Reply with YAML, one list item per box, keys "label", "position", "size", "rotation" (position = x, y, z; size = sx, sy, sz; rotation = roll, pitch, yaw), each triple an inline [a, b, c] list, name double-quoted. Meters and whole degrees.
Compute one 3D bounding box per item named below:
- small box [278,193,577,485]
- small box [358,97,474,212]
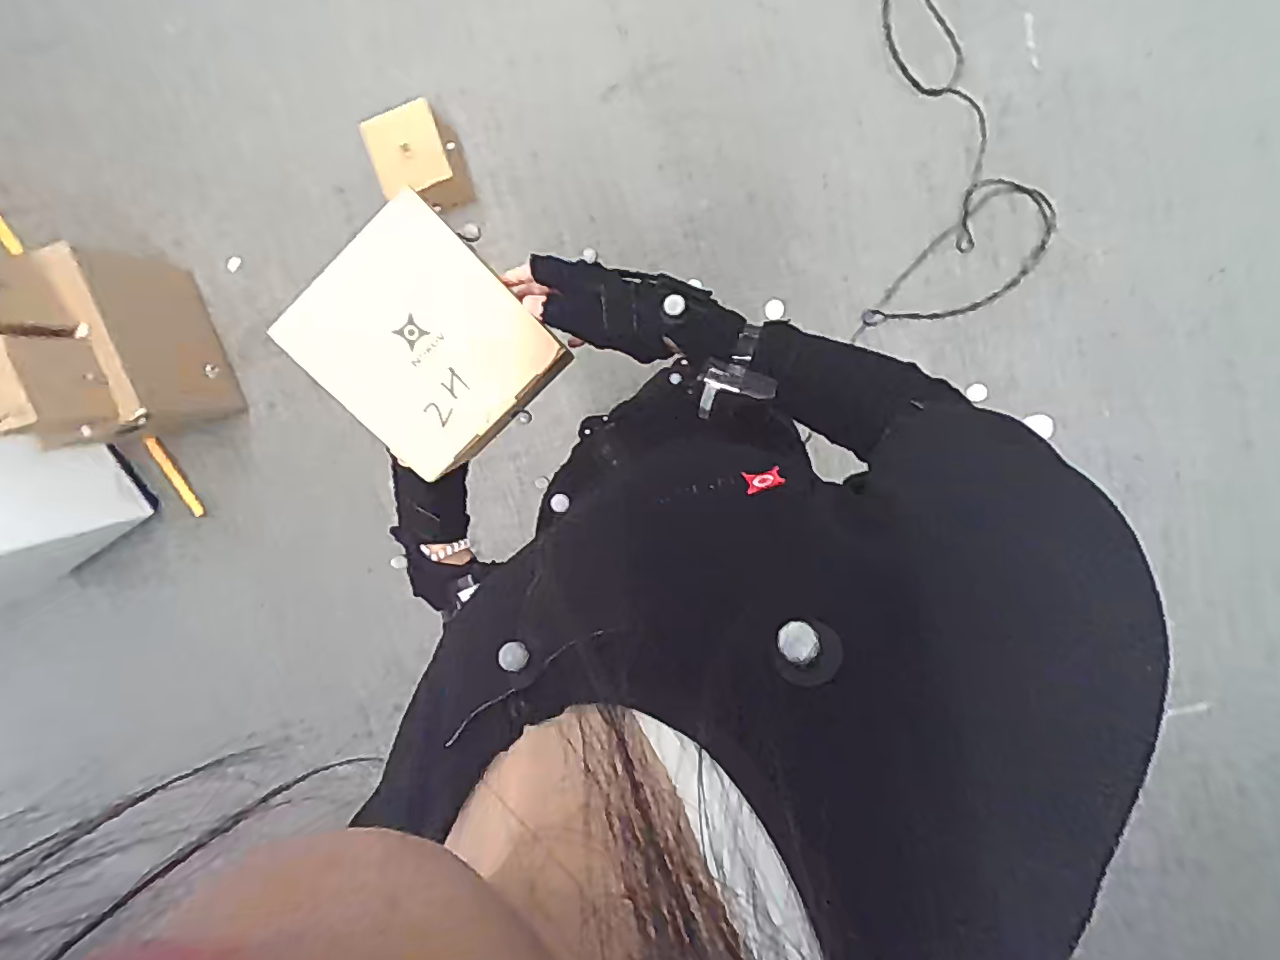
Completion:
- label: "small box"
  position: [-0.178, -0.122, 0.516]
  size: [0.168, 0.176, 0.179]
  rotation: [-42, 100, 5]
- label: "small box"
  position: [-0.525, -0.756, 1.291]
  size: [0.168, 0.176, 0.179]
  rotation: [-18, 100, 7]
